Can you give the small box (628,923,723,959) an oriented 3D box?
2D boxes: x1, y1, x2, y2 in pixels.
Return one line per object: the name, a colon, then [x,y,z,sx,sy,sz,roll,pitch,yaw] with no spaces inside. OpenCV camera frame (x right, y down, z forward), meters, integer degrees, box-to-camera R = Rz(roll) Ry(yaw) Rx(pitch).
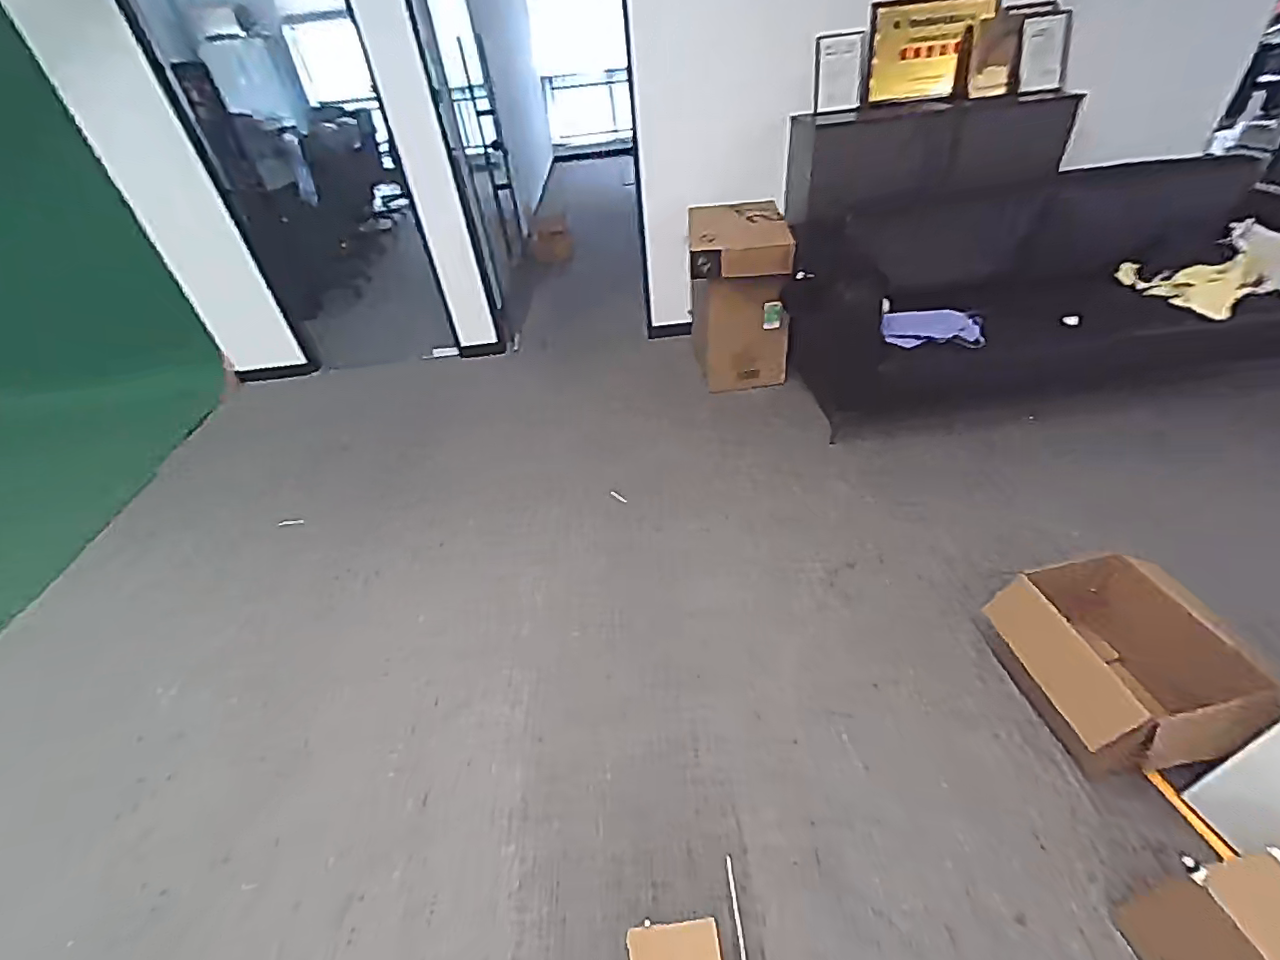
small box: [0.075,0.974,1.029,0.179,0.176,0.168,-7,39,0]
